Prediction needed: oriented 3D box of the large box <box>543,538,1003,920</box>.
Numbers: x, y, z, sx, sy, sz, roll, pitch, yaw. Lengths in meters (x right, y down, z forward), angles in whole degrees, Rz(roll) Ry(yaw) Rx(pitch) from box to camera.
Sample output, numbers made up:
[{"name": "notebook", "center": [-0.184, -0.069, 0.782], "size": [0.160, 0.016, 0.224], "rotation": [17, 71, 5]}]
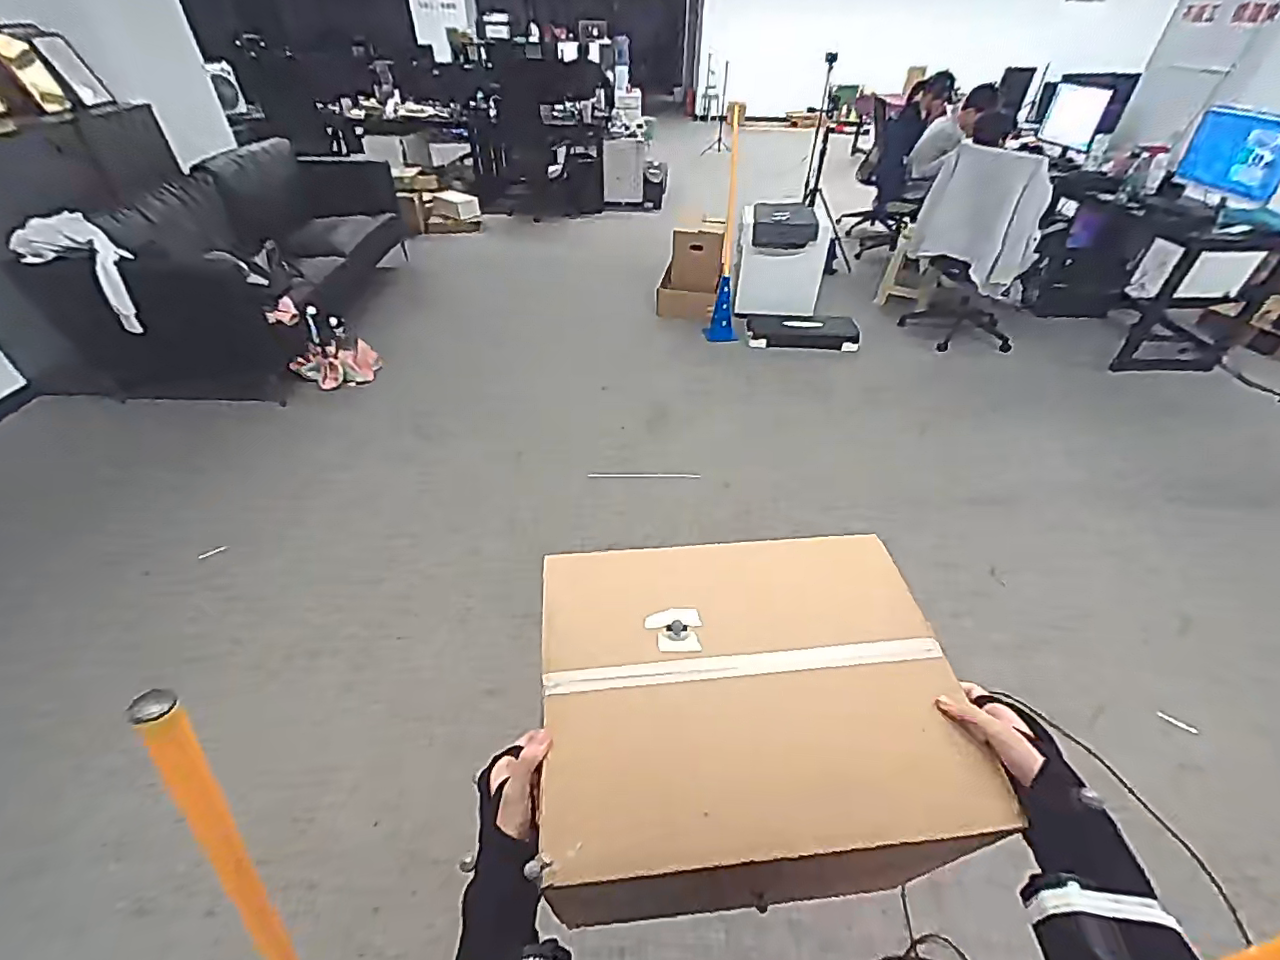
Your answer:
[{"name": "large box", "center": [0.102, 0.299, 0.655], "size": [0.408, 0.320, 0.320], "rotation": [-4, 45, -5]}]
